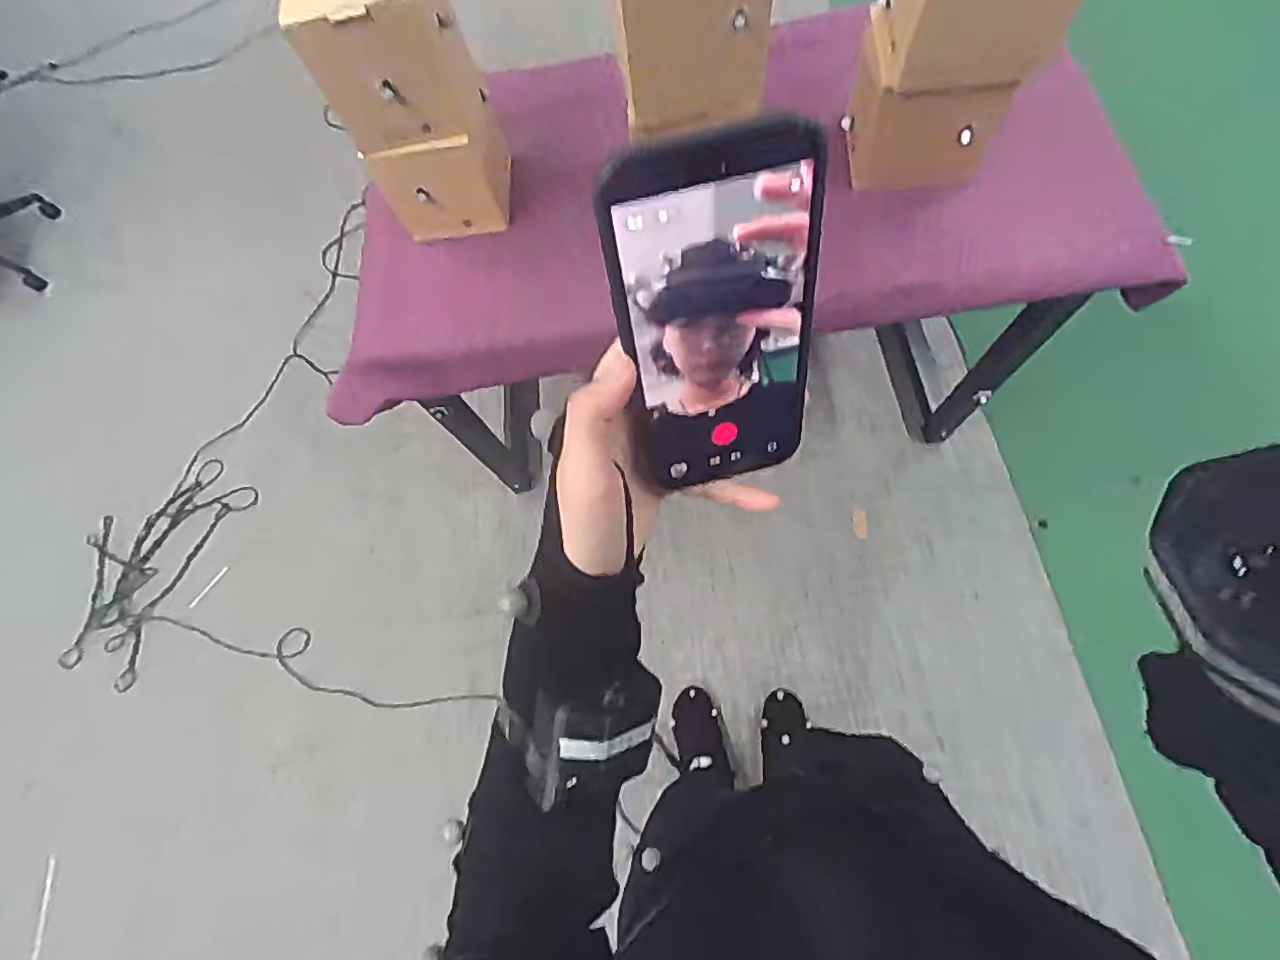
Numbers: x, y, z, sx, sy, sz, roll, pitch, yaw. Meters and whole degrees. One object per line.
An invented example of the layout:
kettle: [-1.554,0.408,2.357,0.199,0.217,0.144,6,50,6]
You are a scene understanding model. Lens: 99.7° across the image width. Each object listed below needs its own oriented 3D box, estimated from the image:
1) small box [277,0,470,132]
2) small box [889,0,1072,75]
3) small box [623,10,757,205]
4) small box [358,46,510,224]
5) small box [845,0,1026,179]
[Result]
small box: [-0.335,-0.594,0.710,0.168,0.176,0.179,-9,71,3]
small box: [0.402,-0.607,0.625,0.179,0.176,0.168,0,71,7]
small box: [0.073,-0.551,0.819,0.179,0.176,0.168,-5,71,5]
small box: [-0.315,-0.534,0.862,0.168,0.176,0.179,-5,71,5]
small box: [0.412,-0.569,0.784,0.179,0.176,0.168,1,71,8]
